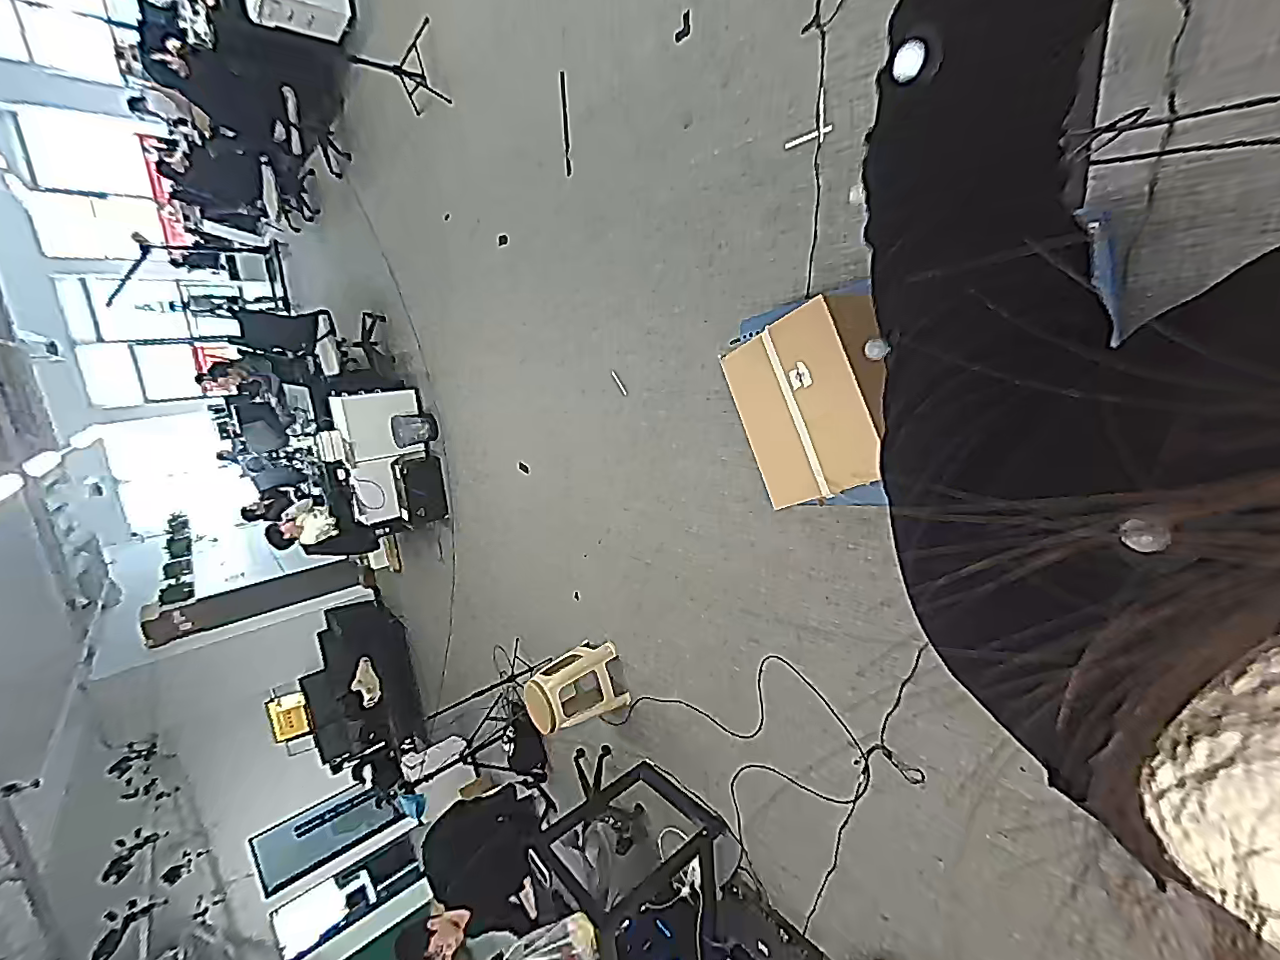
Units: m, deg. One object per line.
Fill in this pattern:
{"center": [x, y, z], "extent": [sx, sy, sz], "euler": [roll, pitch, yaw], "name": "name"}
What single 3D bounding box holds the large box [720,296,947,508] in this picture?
{"center": [0.463, -0.185, 1.309], "extent": [0.320, 0.320, 0.408], "euler": [-25, 81, 50], "name": "large box"}
